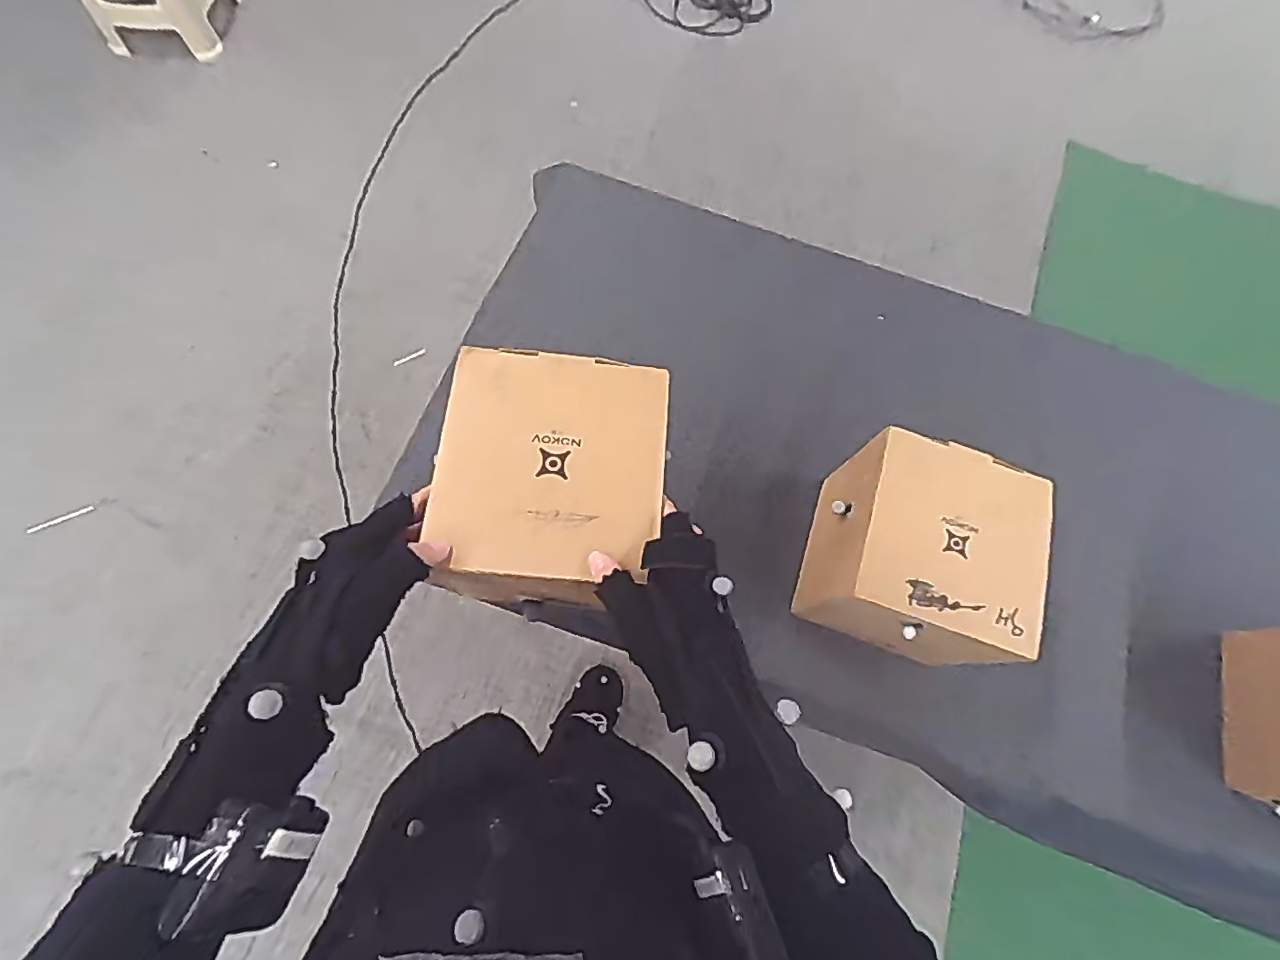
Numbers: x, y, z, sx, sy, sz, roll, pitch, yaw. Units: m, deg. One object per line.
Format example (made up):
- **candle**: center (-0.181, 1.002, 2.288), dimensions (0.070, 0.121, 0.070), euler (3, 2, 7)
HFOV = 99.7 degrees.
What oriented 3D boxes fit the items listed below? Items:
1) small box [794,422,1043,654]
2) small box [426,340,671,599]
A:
- **small box**: center (0.280, 0.072, 0.573), dimensions (0.168, 0.176, 0.179), euler (19, 70, 3)
- **small box**: center (-0.070, 0.004, 0.479), dimensions (0.168, 0.176, 0.179), euler (5, 72, -4)
